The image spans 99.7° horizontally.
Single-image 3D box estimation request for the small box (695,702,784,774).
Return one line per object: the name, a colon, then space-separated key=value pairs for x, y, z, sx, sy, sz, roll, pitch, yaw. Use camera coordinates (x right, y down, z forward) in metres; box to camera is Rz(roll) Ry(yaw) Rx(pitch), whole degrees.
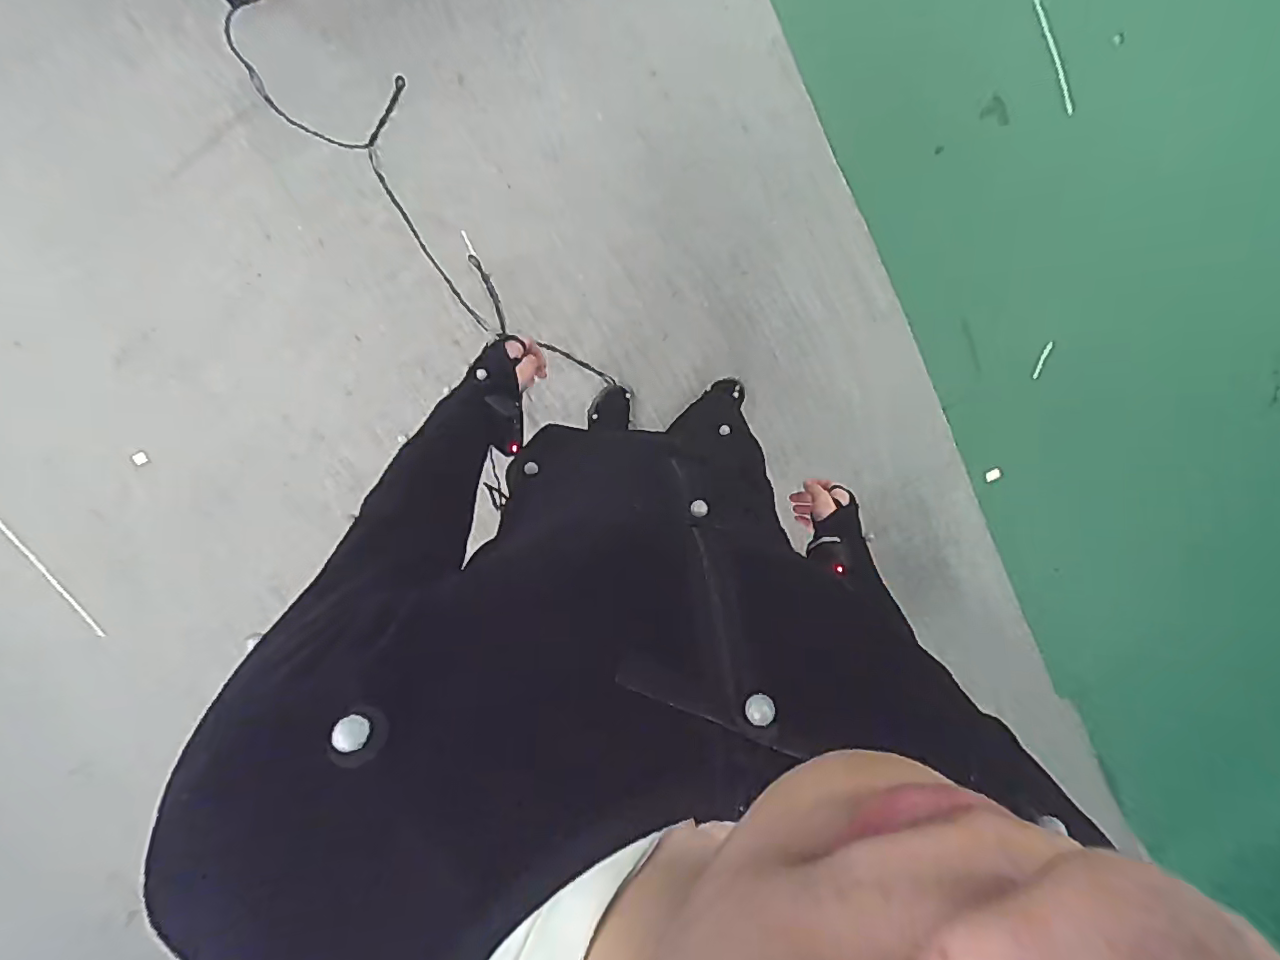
small box: x=0.243 y=0.654 z=1.269 sx=0.168 sy=0.176 sz=0.179 roll=-24 pitch=103 yaw=0
